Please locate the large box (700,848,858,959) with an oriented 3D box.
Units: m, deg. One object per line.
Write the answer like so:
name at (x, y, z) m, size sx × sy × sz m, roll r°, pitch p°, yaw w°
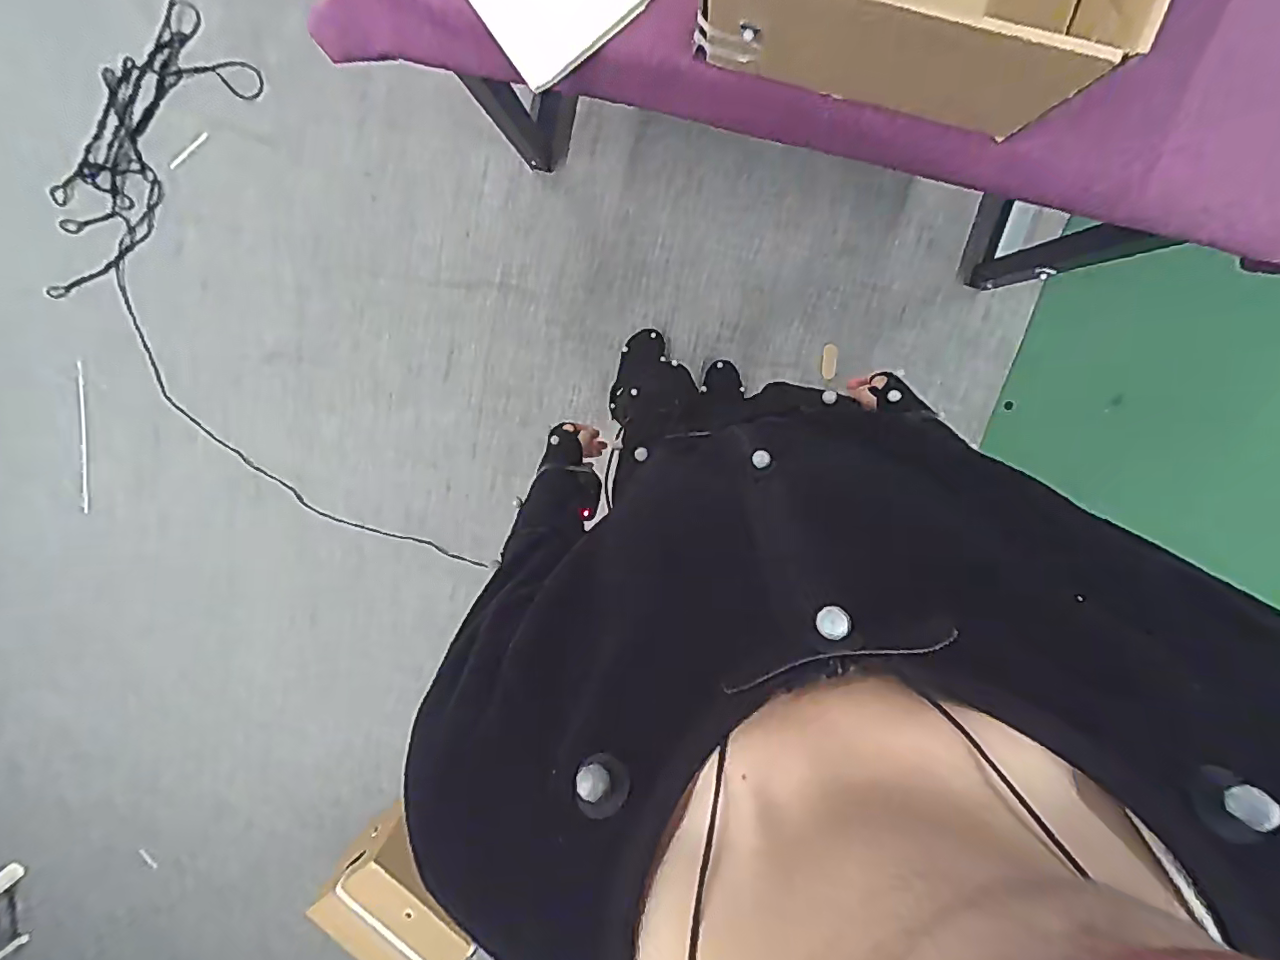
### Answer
large box at (0.386, 1.351, 1.601) m, size 0.408 × 0.320 × 0.320 m, roll 0°, pitch 103°, yaw 3°
